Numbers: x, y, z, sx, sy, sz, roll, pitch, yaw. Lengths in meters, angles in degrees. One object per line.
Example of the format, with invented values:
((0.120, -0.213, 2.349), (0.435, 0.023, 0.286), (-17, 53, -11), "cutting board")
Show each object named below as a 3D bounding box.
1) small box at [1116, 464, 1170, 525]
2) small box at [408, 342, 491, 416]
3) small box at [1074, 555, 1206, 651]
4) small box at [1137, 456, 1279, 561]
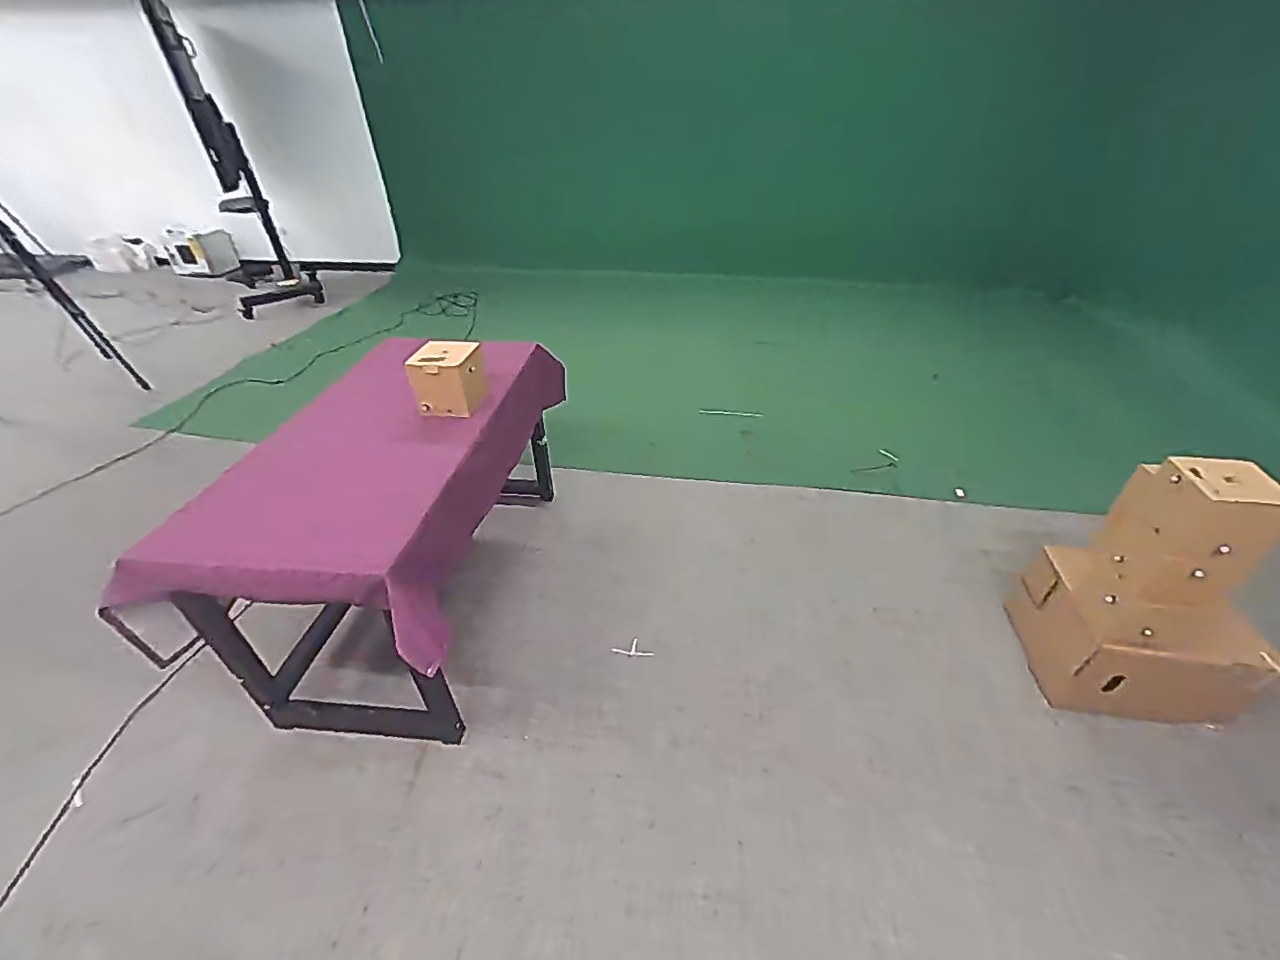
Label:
((1.489, 0.077, 1.497), (0.168, 0.176, 0.179), (6, 36, 5), "small box")
((-0.571, -0.307, 1.648), (0.168, 0.176, 0.179), (4, 37, 7), "small box")
((1.312, 0.327, 1.434), (0.168, 0.176, 0.179), (7, 38, 8), "small box")
((1.311, 0.067, 1.235), (0.179, 0.176, 0.168), (6, 38, 9), "small box")
